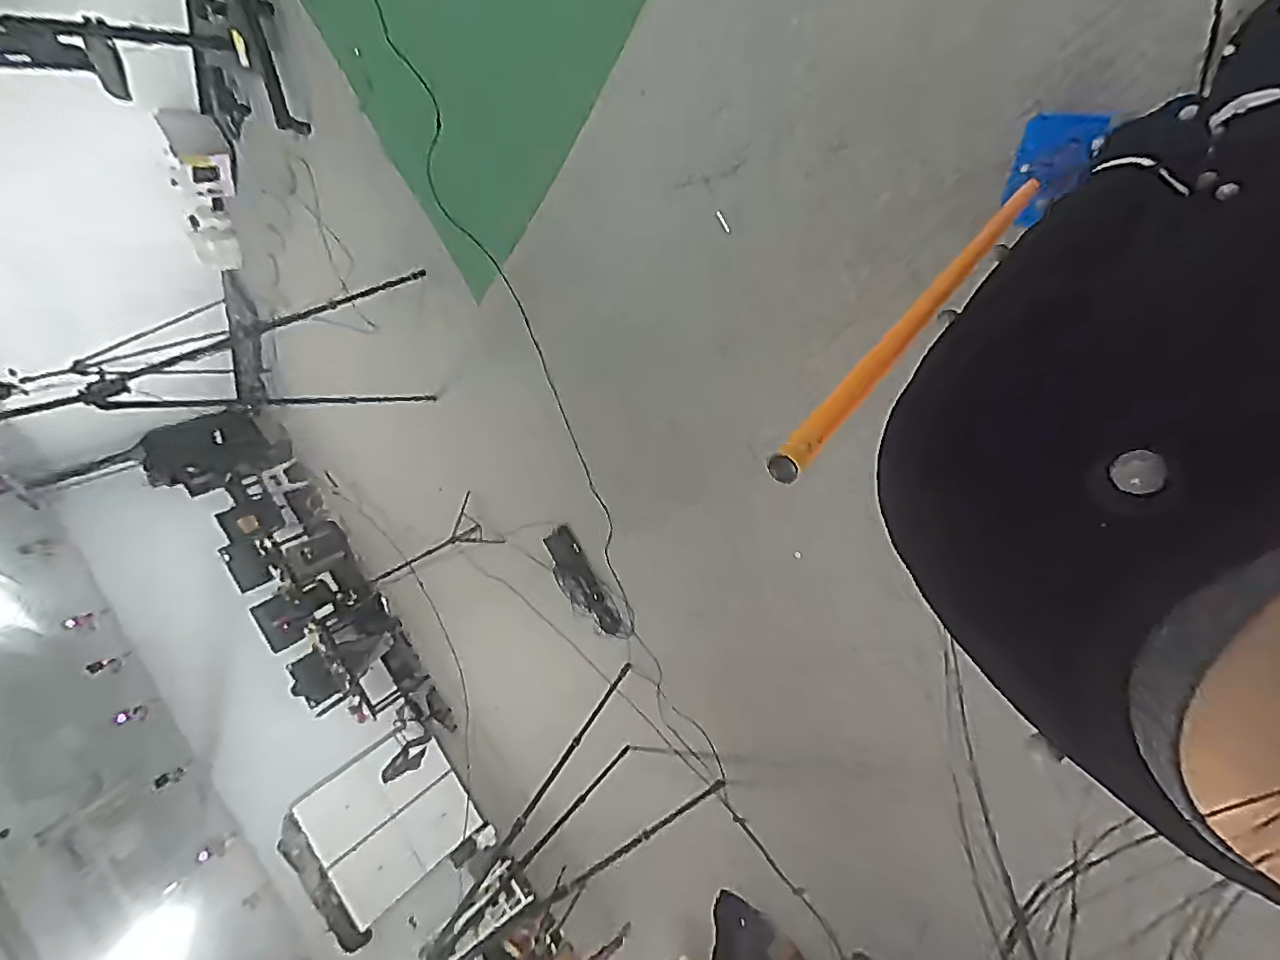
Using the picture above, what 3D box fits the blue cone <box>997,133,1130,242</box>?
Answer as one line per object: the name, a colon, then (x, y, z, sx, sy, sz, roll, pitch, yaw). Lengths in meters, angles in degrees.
blue cone: (0.737, -0.515, 0.984, 0.192, 0.380, 0.193, 25, 131, 34)
